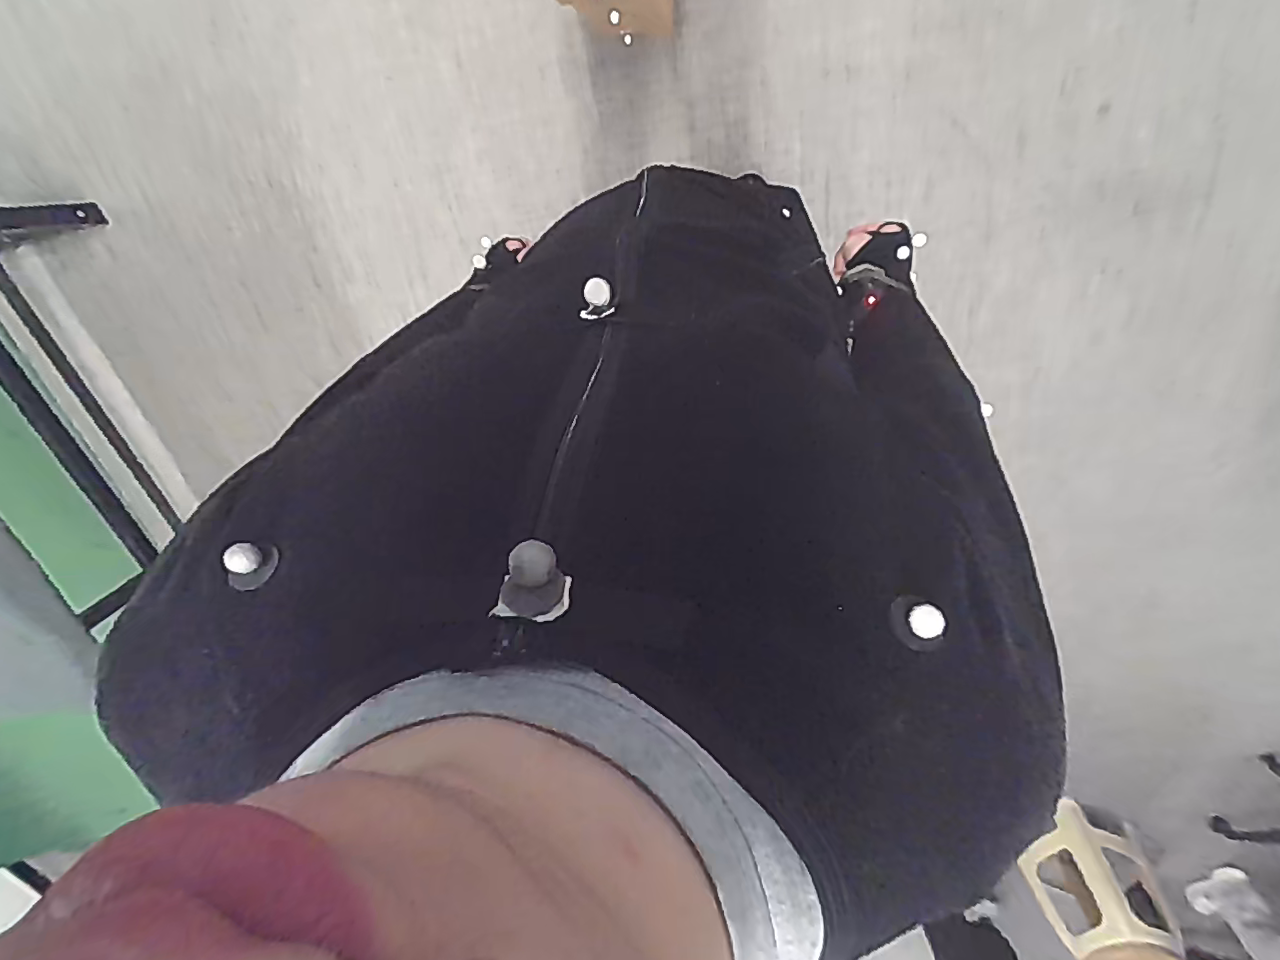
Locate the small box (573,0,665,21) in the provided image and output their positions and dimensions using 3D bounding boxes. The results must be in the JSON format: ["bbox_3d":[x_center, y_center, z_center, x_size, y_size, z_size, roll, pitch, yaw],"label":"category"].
[{"bbox_3d":[-0.042,-0.924,0.928,0.168,0.176,0.179,7,120,6],"label":"small box"}]

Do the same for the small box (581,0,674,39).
[{"bbox_3d":[-0.021,-1.003,1.070,0.168,0.176,0.179,5,121,7],"label":"small box"}]
